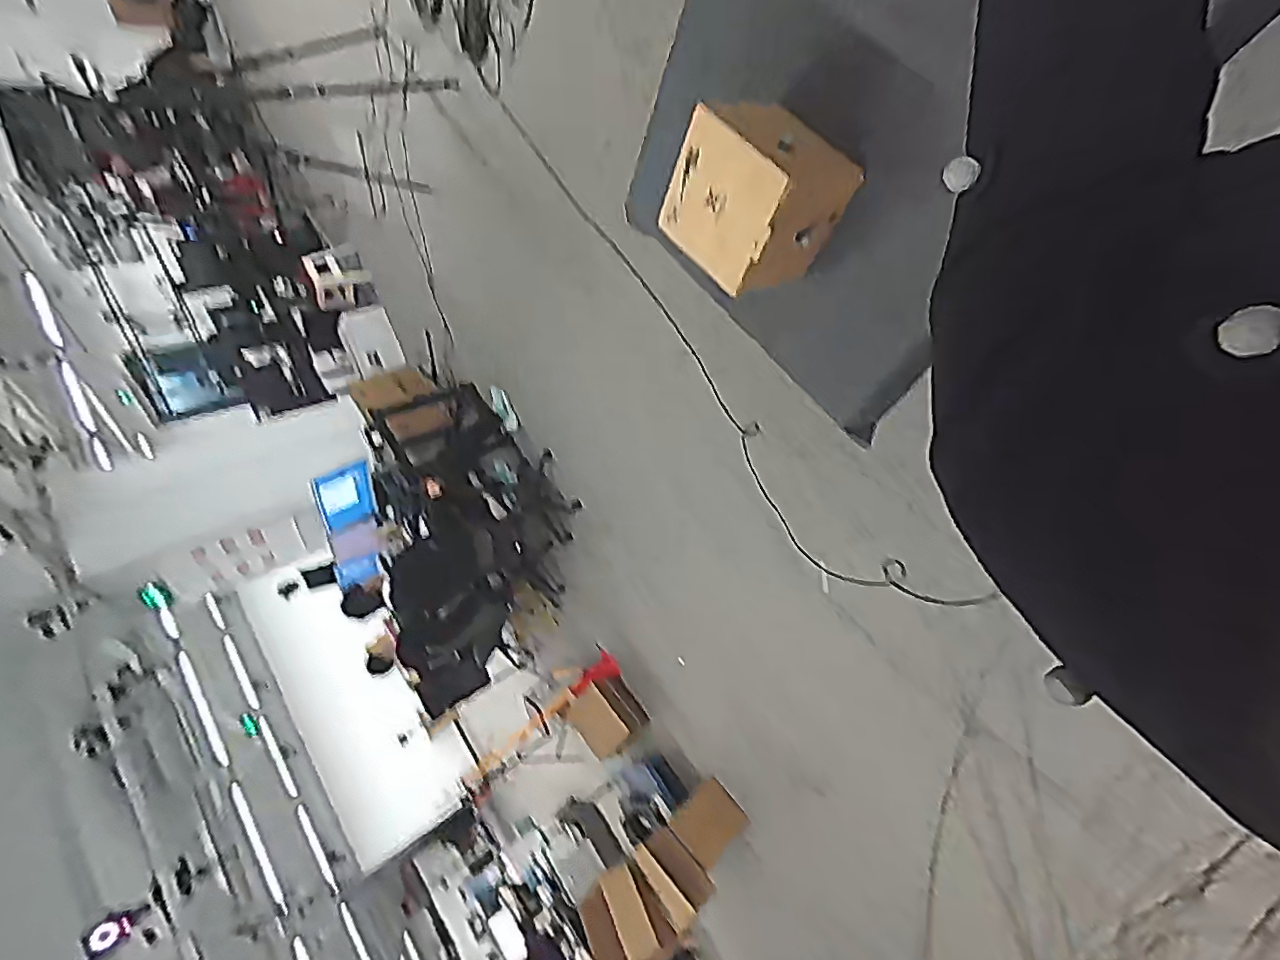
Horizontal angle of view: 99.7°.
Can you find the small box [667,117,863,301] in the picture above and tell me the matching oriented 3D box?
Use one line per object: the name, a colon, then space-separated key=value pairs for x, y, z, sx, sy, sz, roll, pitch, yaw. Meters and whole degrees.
small box: x=0.174 y=-0.388 z=0.766 sx=0.179 sy=0.176 sz=0.168 roll=51 pitch=145 yaw=19
